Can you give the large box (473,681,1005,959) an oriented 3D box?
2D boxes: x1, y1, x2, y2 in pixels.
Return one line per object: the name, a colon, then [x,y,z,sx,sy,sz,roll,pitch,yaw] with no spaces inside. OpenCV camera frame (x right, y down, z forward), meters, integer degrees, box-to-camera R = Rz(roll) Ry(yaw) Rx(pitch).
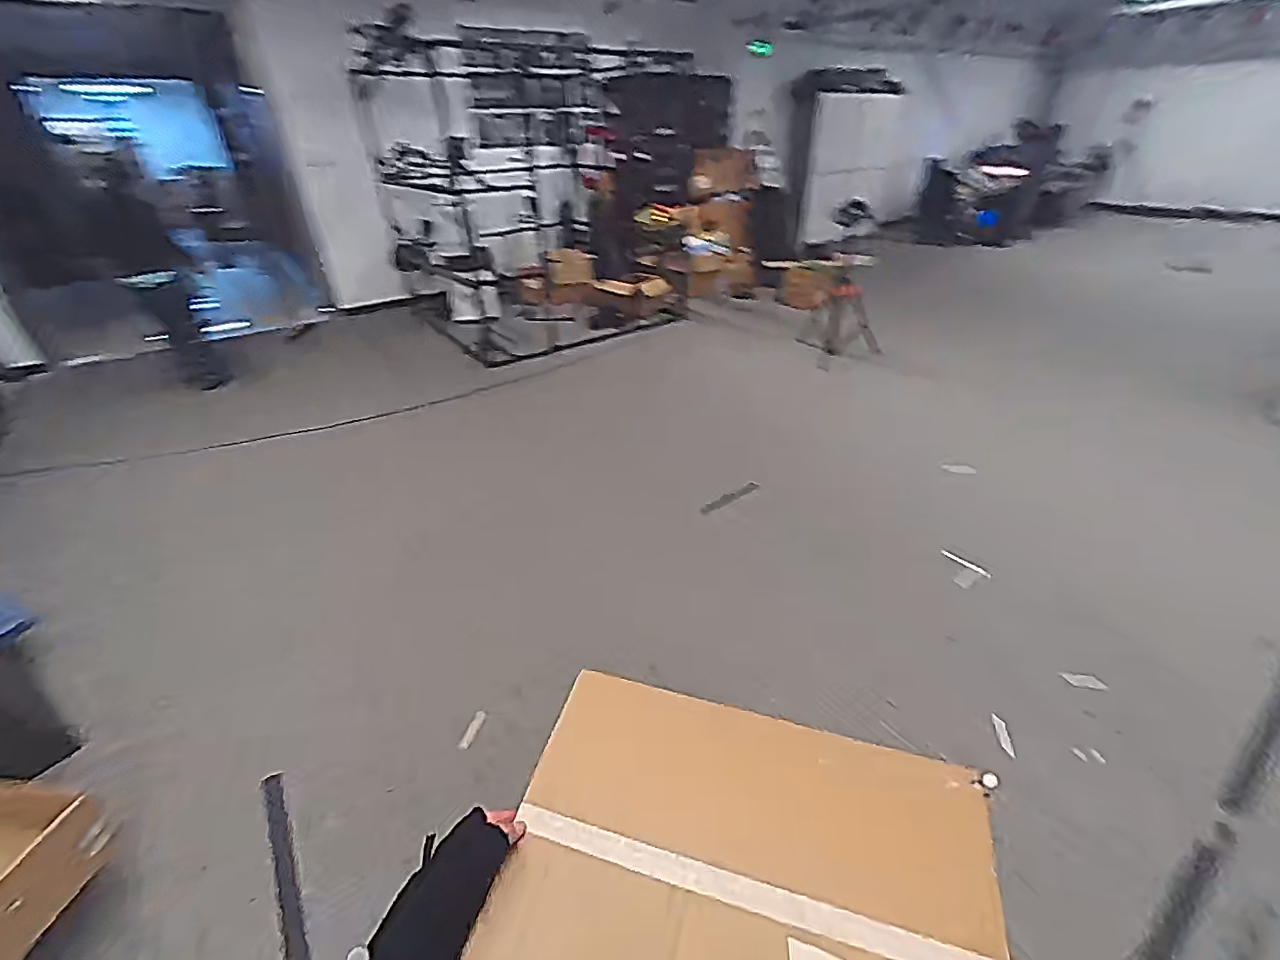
large box: [0.094,0.466,0.548,0.408,0.320,0.320,10,41,17]
